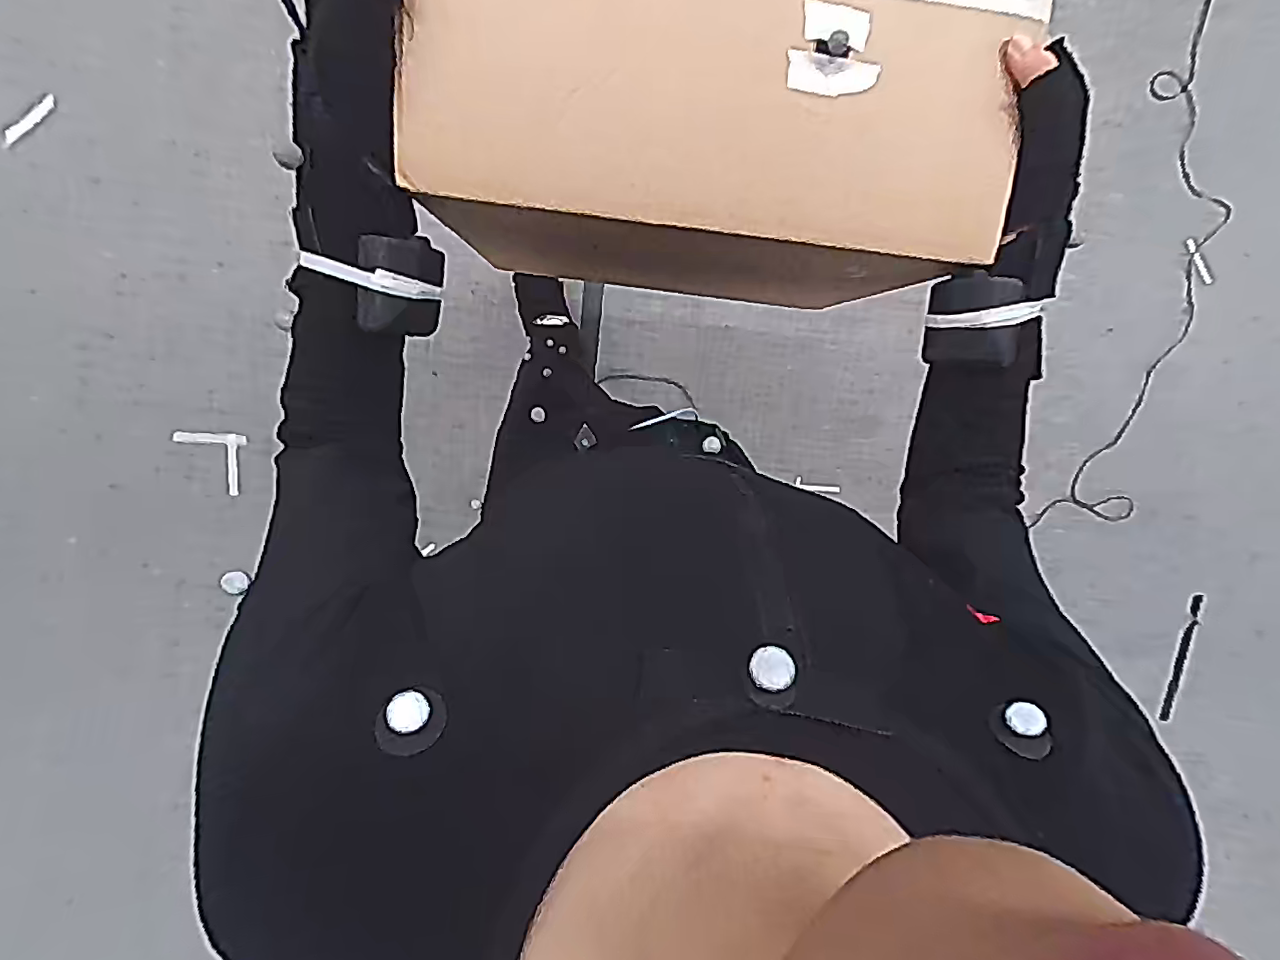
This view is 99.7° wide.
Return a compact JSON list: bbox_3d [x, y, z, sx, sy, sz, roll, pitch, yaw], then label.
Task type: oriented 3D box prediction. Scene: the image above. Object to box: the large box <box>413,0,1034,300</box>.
[{"bbox_3d":[0.049,-0.355,0.484,0.408,0.320,0.320,5,103,-6],"label":"large box"}]
